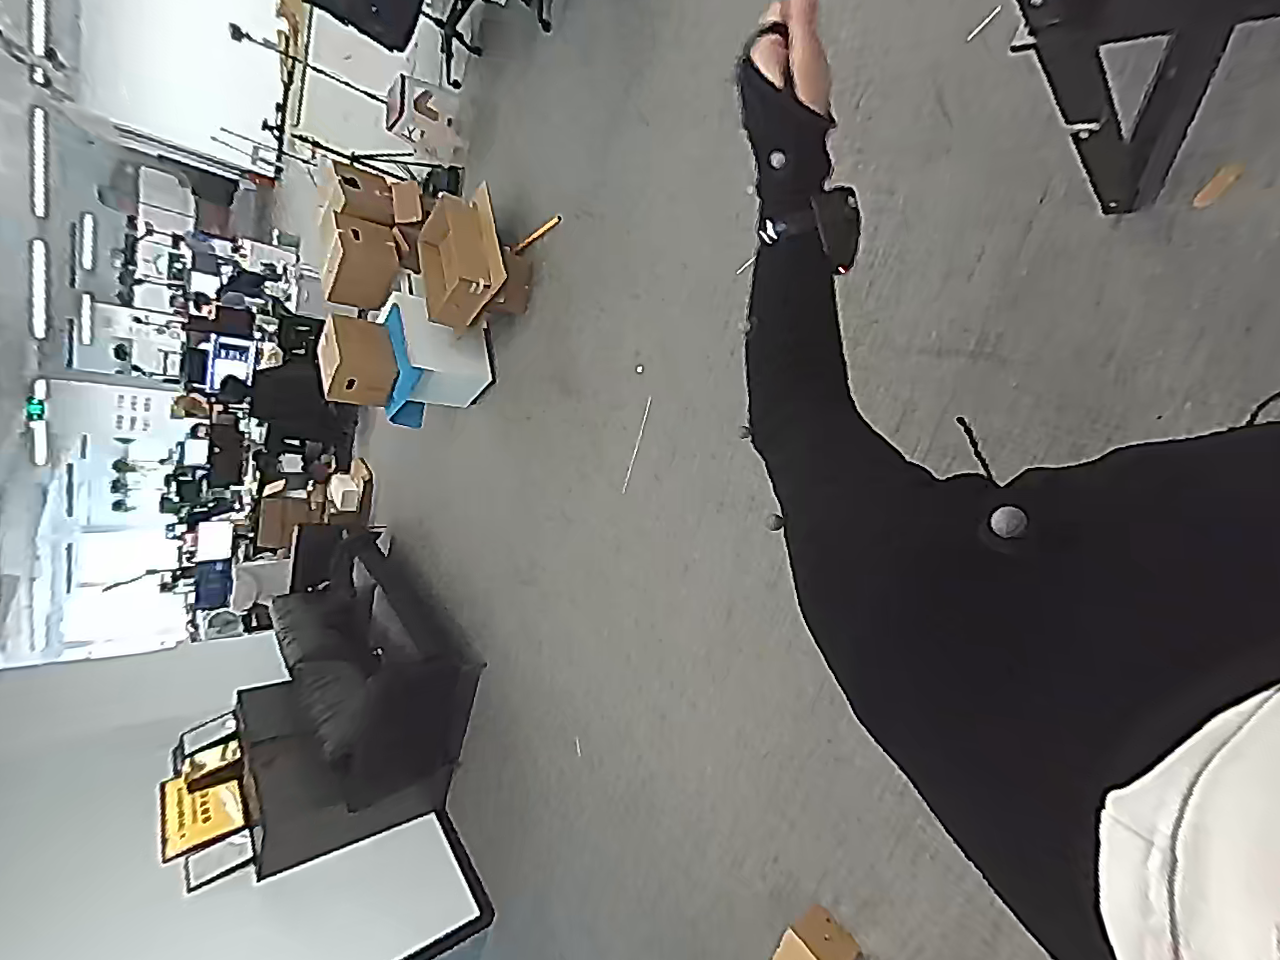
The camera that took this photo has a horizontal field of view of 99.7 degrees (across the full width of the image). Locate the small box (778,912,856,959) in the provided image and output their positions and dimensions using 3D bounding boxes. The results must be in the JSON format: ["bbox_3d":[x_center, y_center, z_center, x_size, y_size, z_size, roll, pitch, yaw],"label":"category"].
[{"bbox_3d":[0.544,1.499,1.669,0.168,0.176,0.179,32,111,44],"label":"small box"}]
